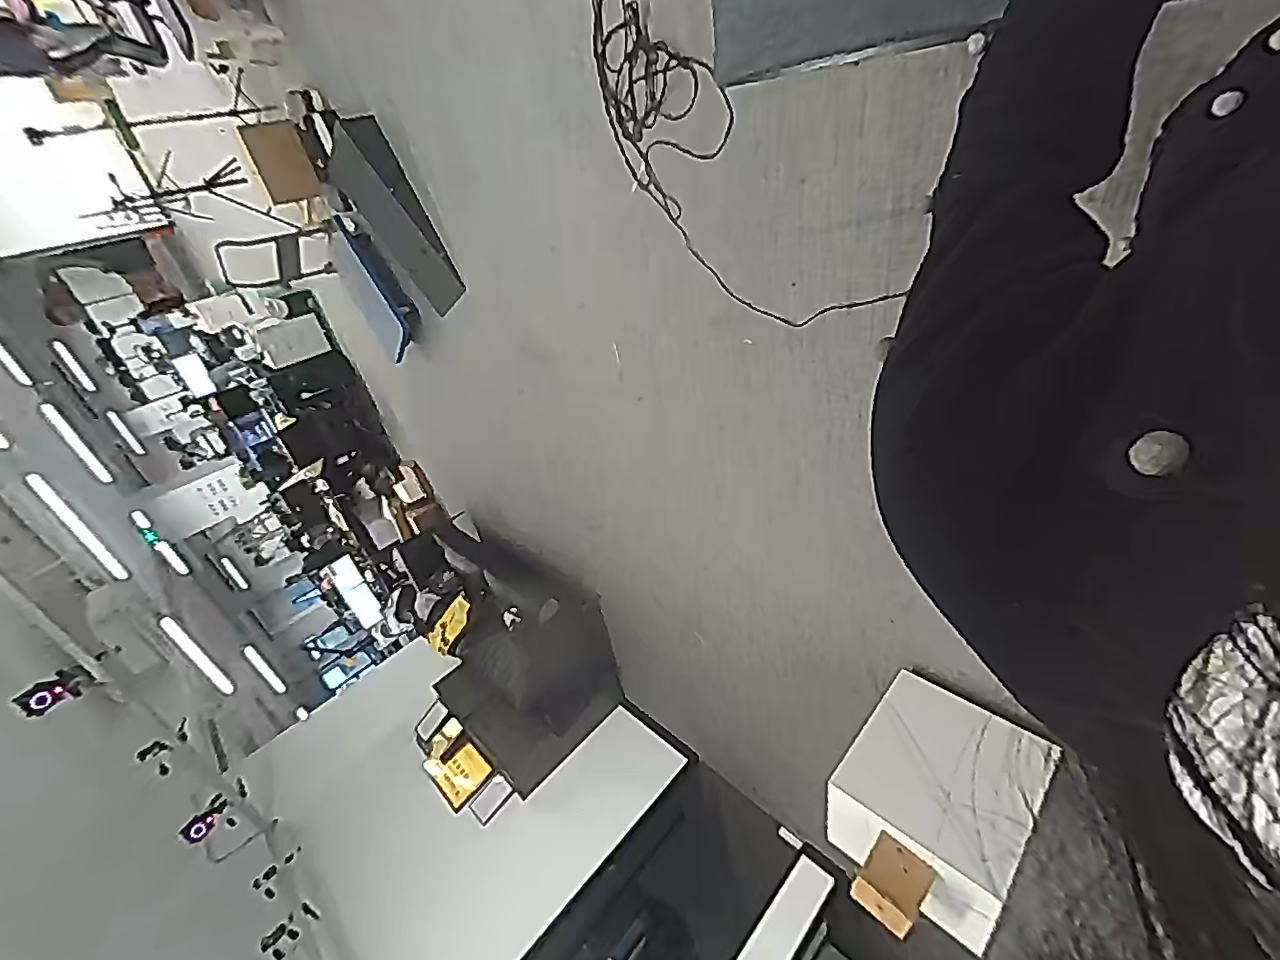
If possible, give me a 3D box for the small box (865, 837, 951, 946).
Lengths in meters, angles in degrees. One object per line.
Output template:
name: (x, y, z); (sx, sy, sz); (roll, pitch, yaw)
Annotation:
small box: (0.799, 1.220, 1.610); (0.168, 0.176, 0.179); (27, 139, 38)
